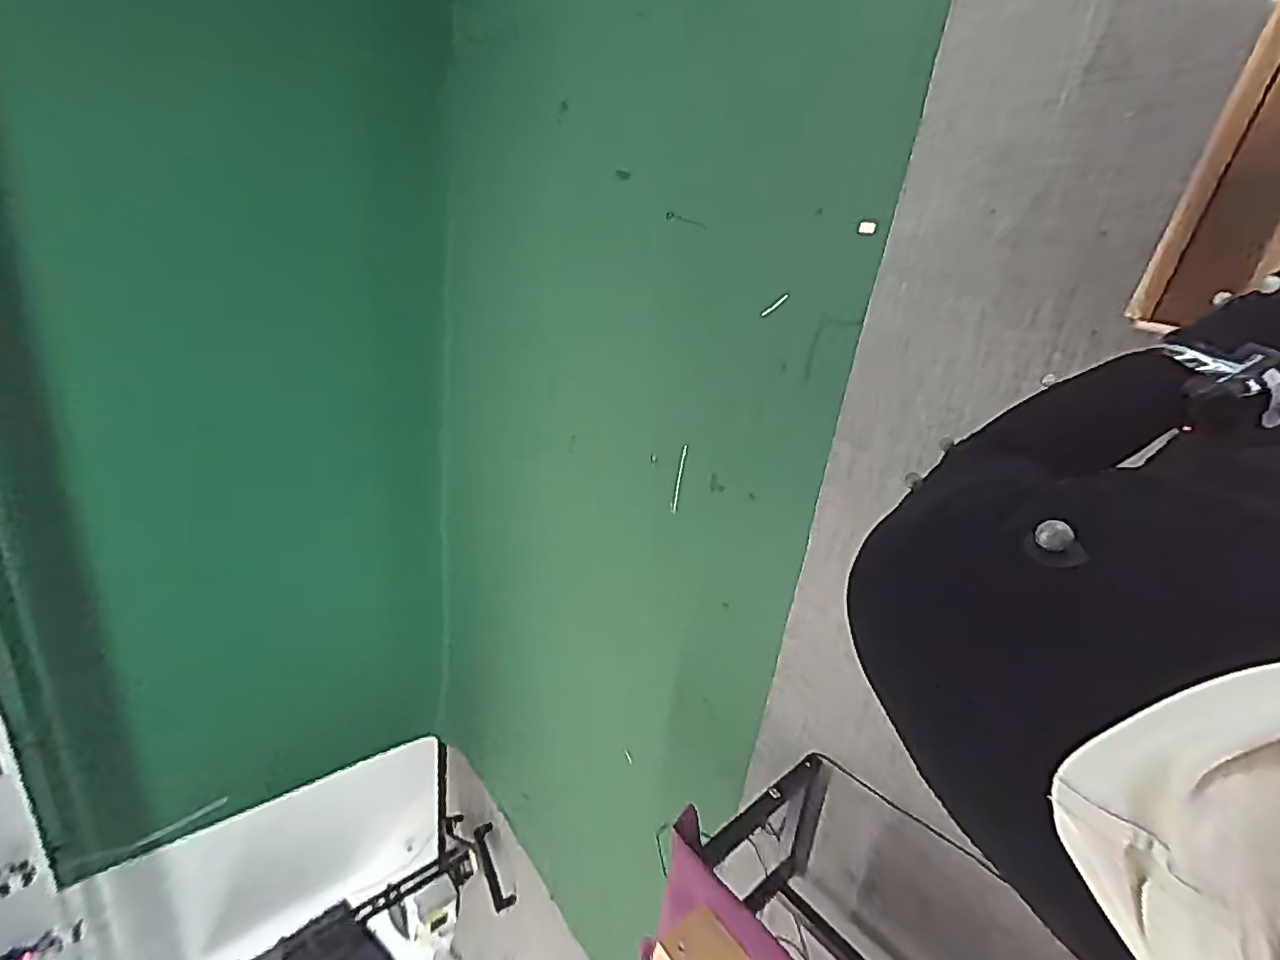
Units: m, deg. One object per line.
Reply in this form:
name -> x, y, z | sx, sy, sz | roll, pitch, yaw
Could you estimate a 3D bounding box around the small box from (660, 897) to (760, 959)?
small box -> 0.177, 1.229, 1.392 | 0.179, 0.176, 0.168 | 31, 122, 41
